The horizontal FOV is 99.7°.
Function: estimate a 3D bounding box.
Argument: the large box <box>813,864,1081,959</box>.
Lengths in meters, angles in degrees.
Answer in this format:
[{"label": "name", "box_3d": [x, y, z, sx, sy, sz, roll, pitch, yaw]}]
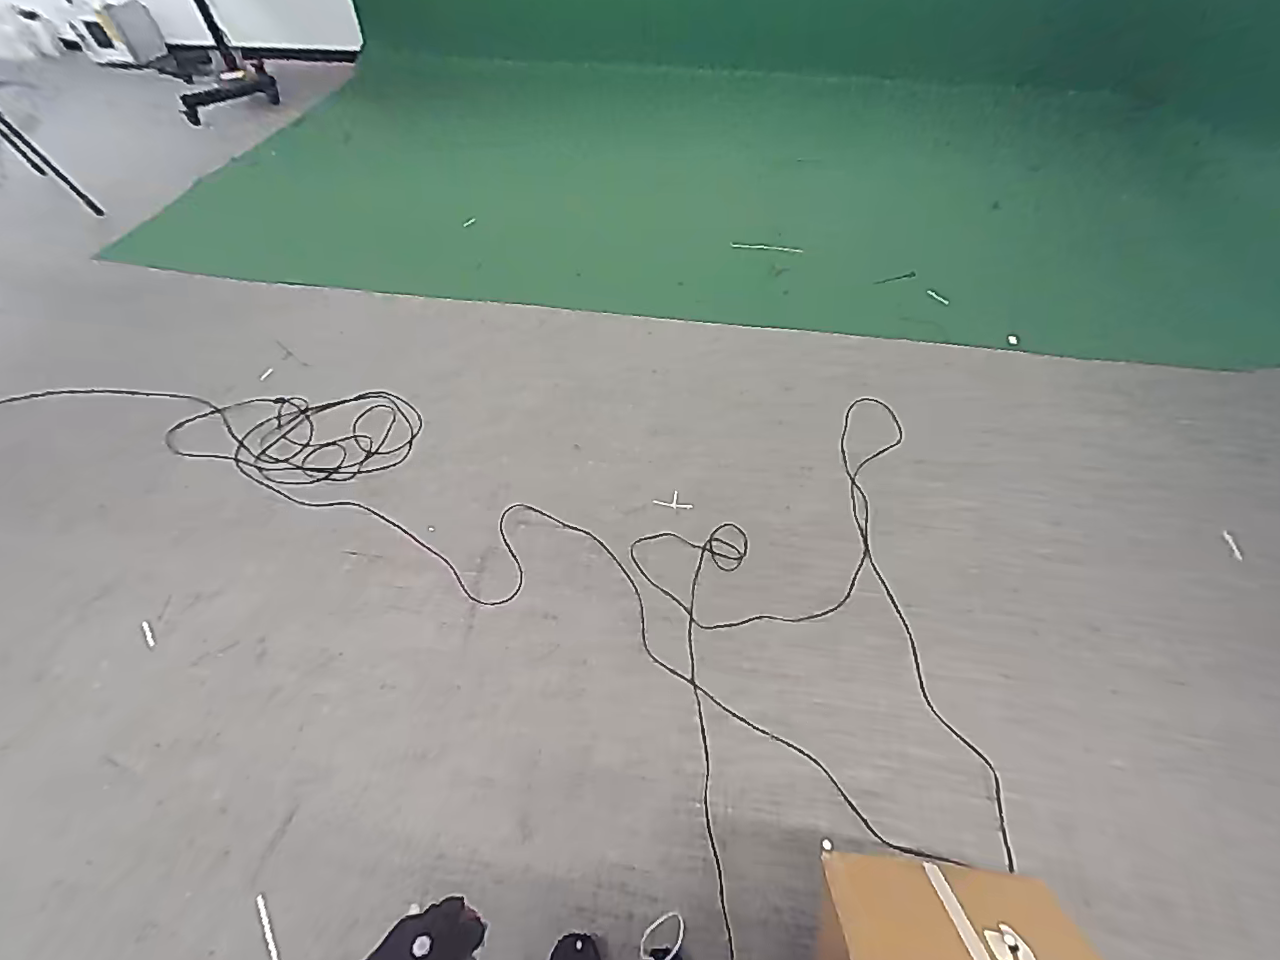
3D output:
[{"label": "large box", "box_3d": [0.397, 0.756, 0.628, 0.320, 0.408, 0.320, 4, 93, 6]}]
